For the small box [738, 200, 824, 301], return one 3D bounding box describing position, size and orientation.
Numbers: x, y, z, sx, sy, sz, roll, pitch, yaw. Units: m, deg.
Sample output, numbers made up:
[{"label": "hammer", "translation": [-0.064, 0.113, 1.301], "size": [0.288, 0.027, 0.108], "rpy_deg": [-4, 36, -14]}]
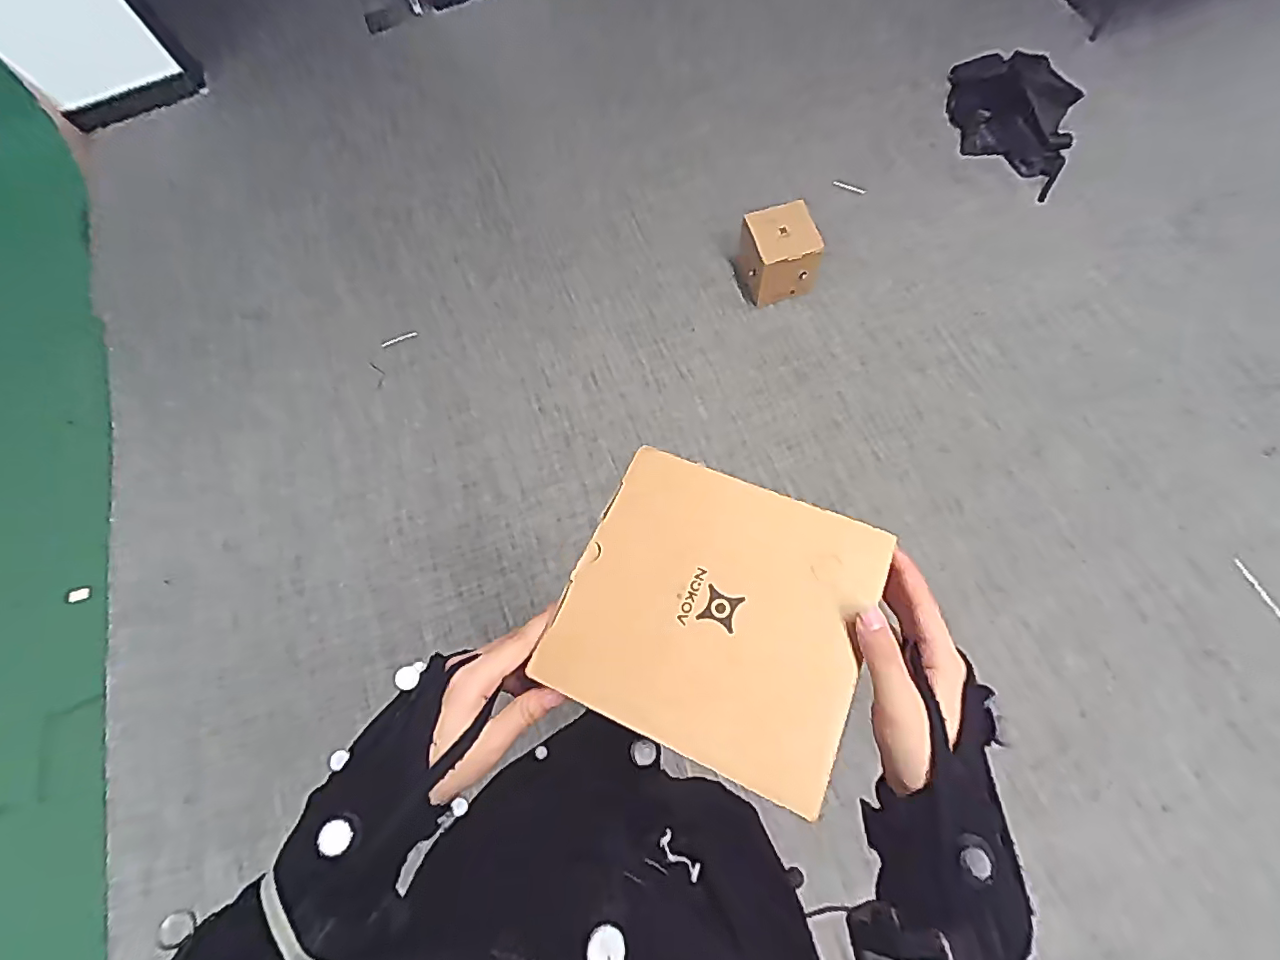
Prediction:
[{"label": "small box", "translation": [0.375, -0.611, 1.464], "size": [0.168, 0.176, 0.179], "rpy_deg": [-15, 69, -2]}]
